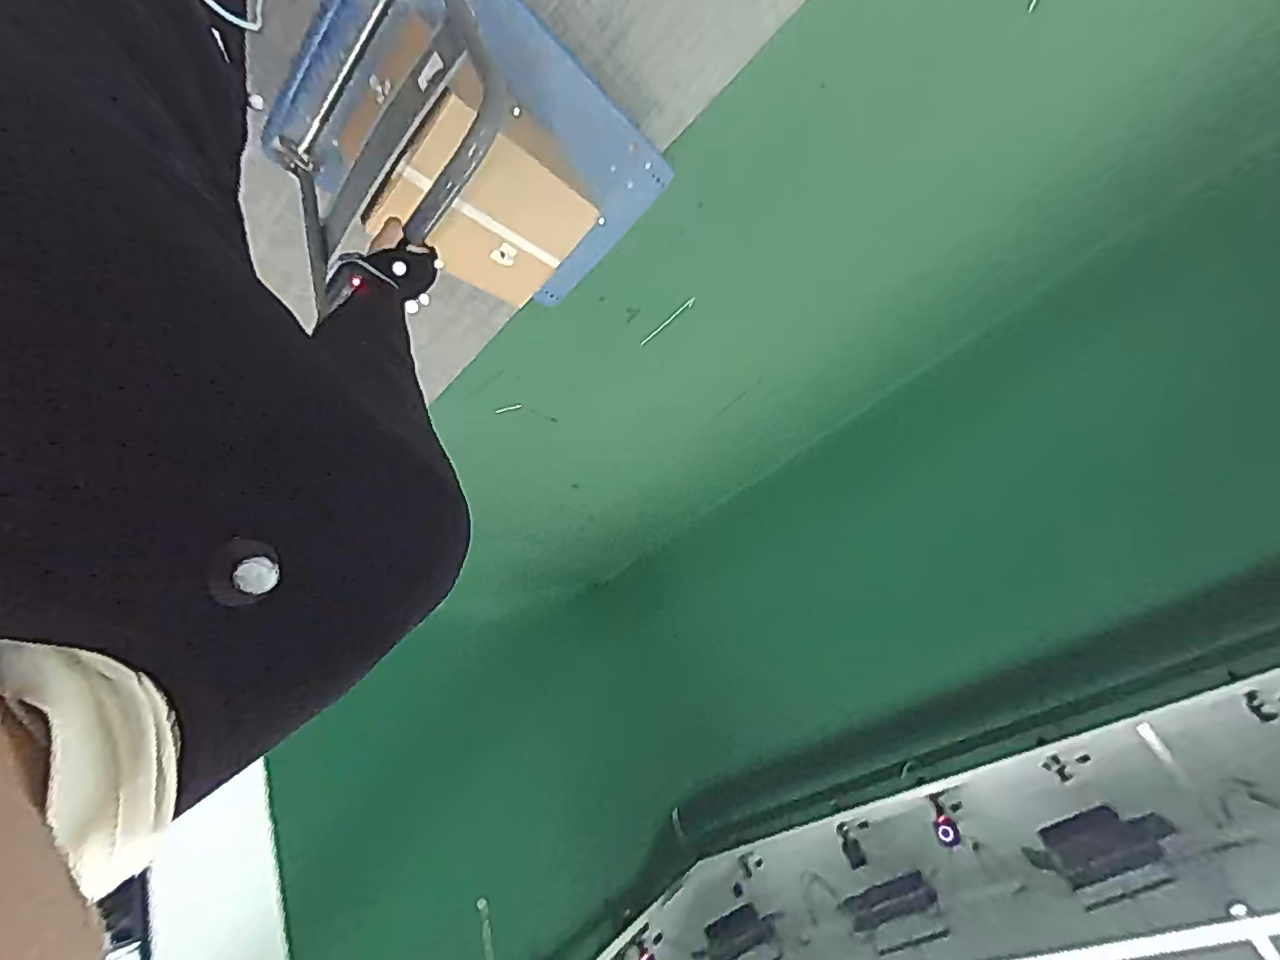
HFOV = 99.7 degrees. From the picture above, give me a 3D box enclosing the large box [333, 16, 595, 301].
[{"bbox_3d":[-0.385,-0.674,1.197,0.320,0.320,0.408,-38,154,26],"label":"large box"}]
